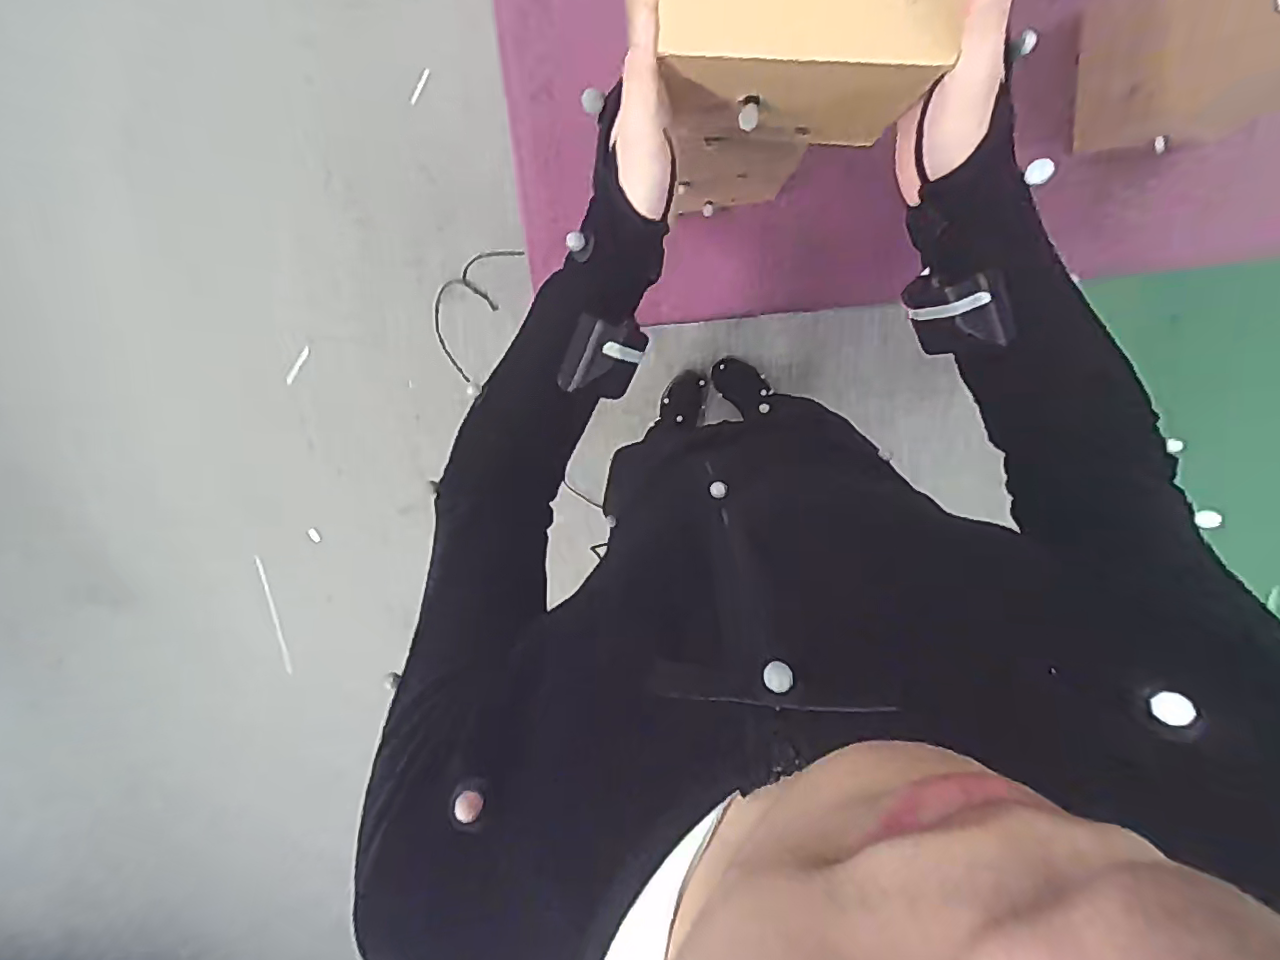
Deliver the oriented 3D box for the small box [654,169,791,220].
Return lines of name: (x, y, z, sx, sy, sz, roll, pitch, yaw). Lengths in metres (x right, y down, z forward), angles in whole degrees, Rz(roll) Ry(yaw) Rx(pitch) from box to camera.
small box: (0.096, -0.457, 0.698, 0.168, 0.176, 0.179, -5, 103, 7)

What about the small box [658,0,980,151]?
small box: (0.109, -0.326, 0.340, 0.168, 0.176, 0.179, 7, 109, 5)

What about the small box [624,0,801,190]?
small box: (0.079, -0.409, 0.542, 0.168, 0.176, 0.179, -5, 102, 7)
